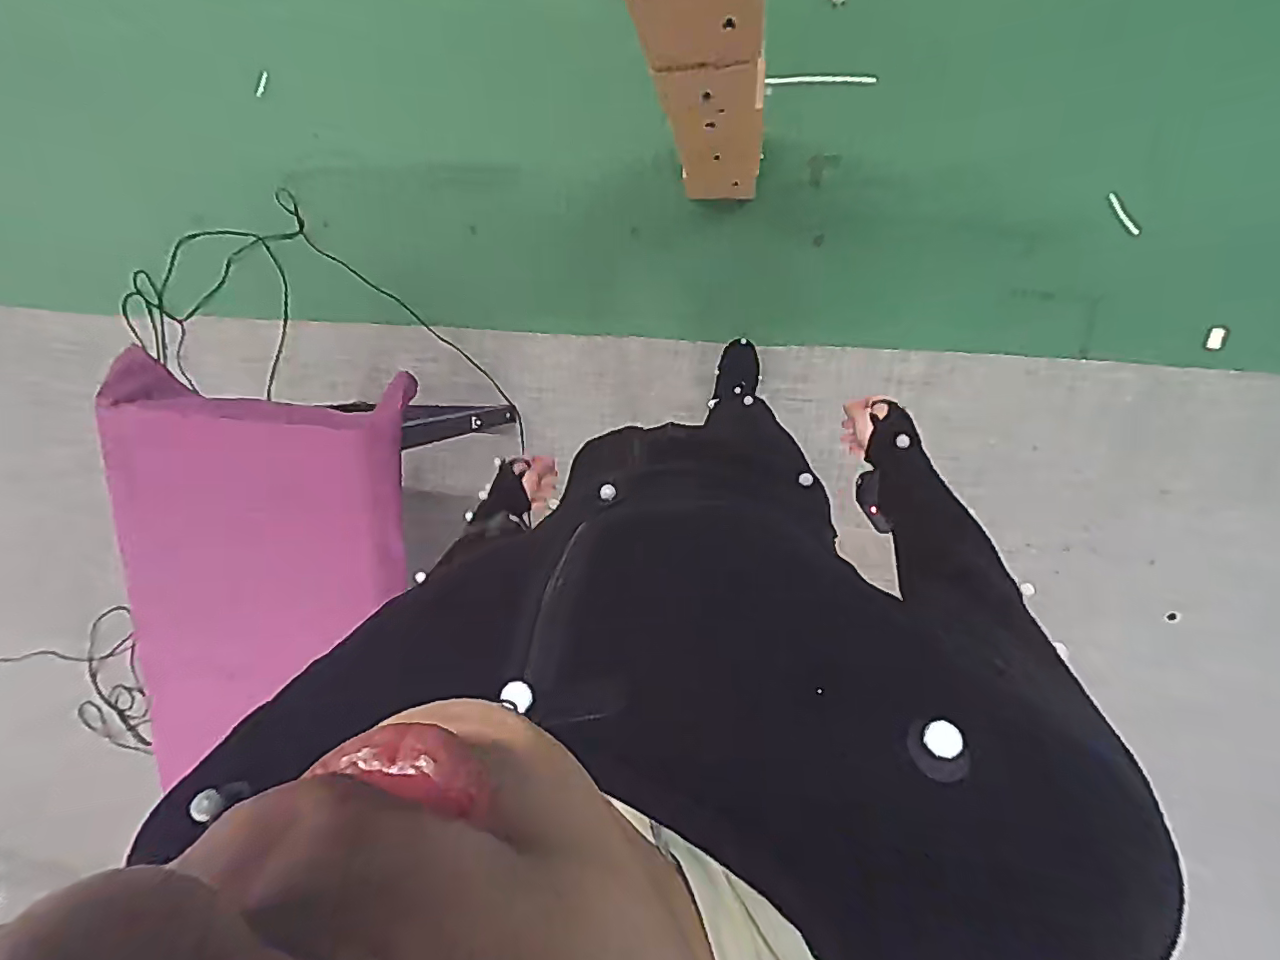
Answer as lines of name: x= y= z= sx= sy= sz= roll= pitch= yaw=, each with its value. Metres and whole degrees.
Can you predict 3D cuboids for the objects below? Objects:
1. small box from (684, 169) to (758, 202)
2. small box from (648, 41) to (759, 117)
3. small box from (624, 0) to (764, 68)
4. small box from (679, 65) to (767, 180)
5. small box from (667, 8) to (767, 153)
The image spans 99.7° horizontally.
small box: x=0.210 y=-0.813 z=1.358 sx=0.179 sy=0.176 sz=0.168 roll=6 pitch=102 yaw=10
small box: x=0.111 y=-0.725 z=0.888 sx=0.168 sy=0.176 sz=0.179 roll=3 pitch=103 yaw=11
small box: x=0.082 y=-0.695 z=0.729 sx=0.179 sy=0.176 sz=0.168 roll=4 pitch=101 yaw=12
small box: x=0.185 y=-0.784 z=1.200 sx=0.179 sy=0.176 sz=0.168 roll=3 pitch=102 yaw=11
small box: x=0.151 y=-0.755 z=1.043 sx=0.179 sy=0.176 sz=0.168 roll=1 pitch=102 yaw=11
